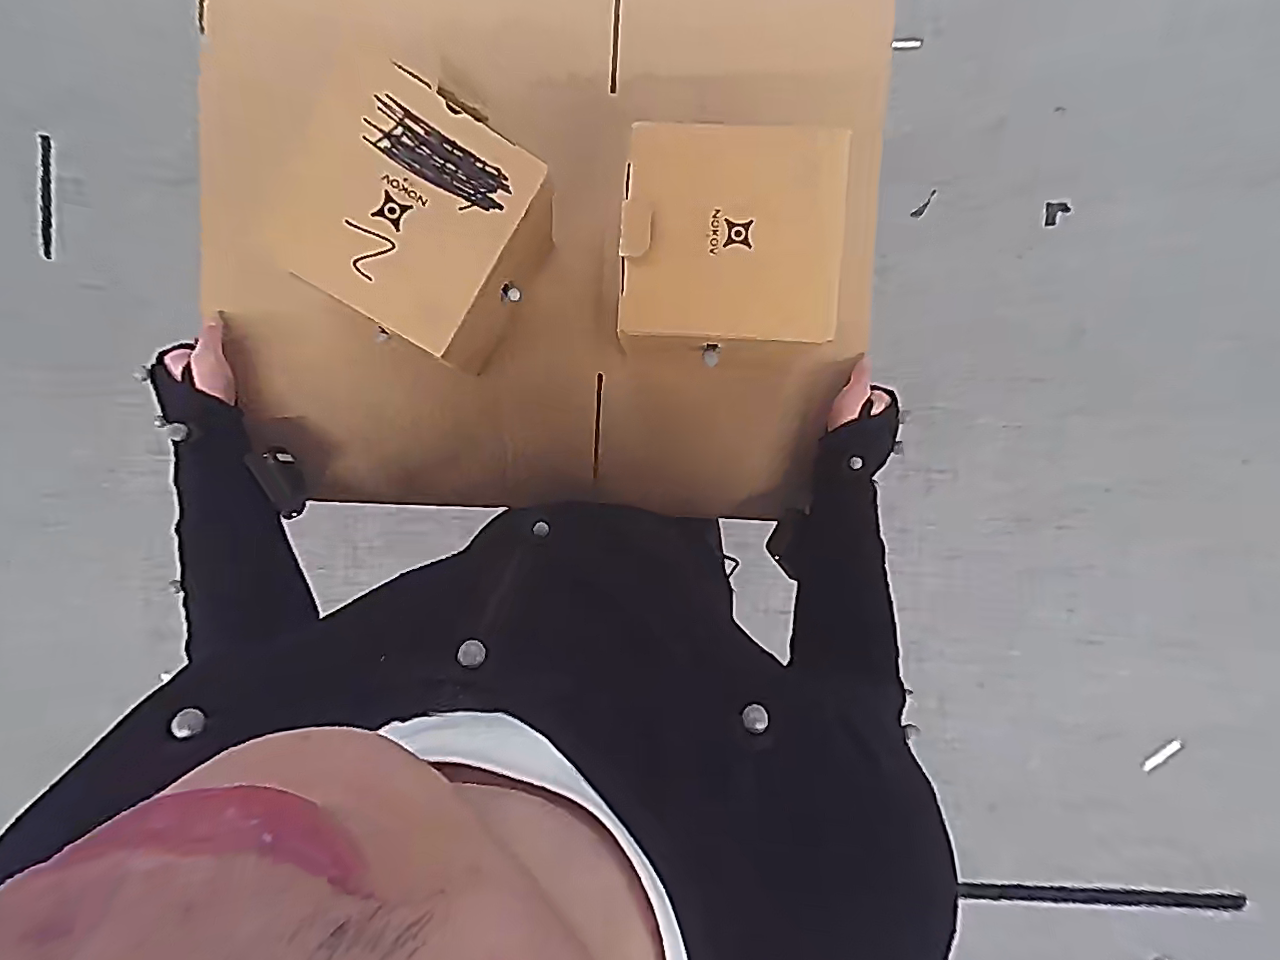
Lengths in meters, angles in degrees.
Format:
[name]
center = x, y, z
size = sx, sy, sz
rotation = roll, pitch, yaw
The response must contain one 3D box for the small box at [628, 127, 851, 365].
[small box]
center = 0.083, -0.208, 0.526
size = 0.179, 0.176, 0.168
rotation = 3, 93, 2
